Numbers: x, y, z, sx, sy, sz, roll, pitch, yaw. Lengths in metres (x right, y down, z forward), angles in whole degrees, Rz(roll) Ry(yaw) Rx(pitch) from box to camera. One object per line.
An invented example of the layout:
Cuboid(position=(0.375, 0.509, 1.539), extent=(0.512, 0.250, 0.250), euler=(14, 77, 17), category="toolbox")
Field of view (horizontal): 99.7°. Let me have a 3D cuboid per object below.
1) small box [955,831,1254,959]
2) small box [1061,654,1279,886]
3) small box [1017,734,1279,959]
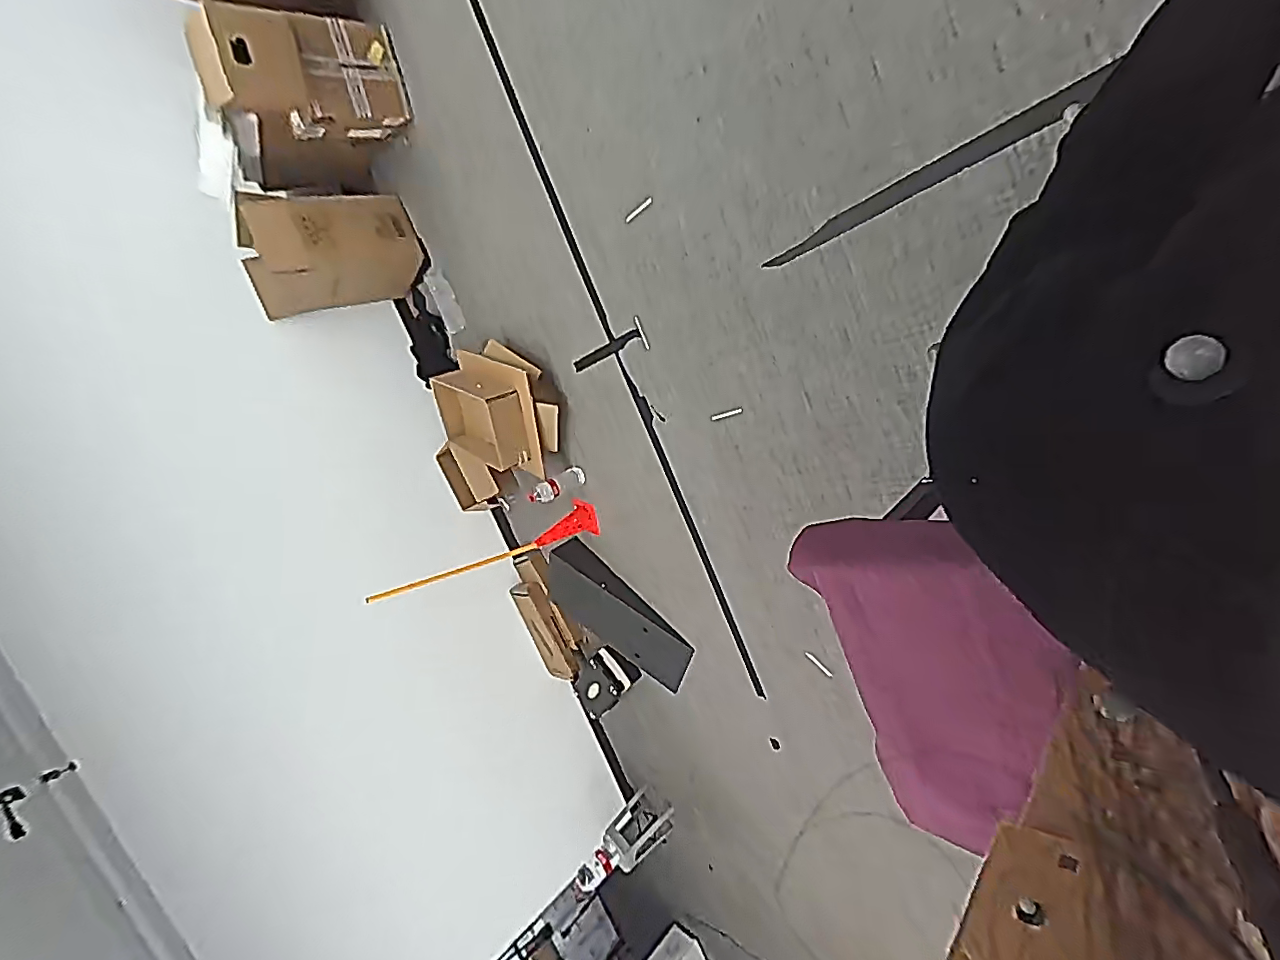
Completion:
Cuboid(position=(0.390, 0.444, 0.447), extent=(0.168, 0.176, 0.179), euler=(-11, 104, 53), category="small box")
Cuboid(position=(0.630, 0.333, 0.639), extent=(0.168, 0.176, 0.179), euler=(-6, 109, 52), category="small box")
Cuboid(position=(0.514, 0.401, 0.545), extent=(0.168, 0.176, 0.179), euler=(-7, 107, 51), category="small box")
